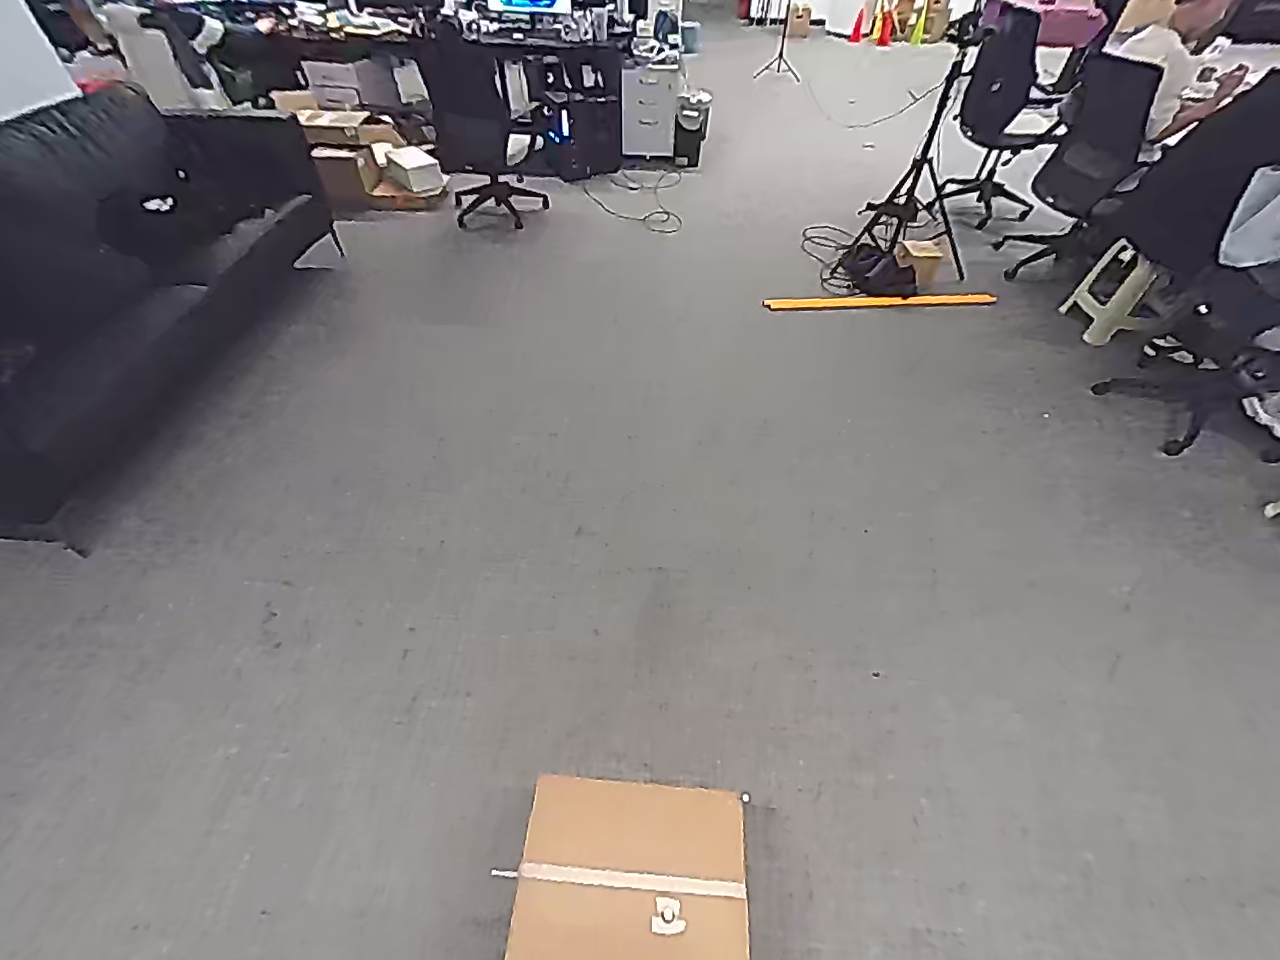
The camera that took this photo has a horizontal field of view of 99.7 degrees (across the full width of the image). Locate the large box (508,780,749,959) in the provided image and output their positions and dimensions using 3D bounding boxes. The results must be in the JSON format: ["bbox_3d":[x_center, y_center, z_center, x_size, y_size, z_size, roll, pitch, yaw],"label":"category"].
[{"bbox_3d":[-0.014,0.818,1.064,0.408,0.320,0.320,4,47,3],"label":"large box"}]
